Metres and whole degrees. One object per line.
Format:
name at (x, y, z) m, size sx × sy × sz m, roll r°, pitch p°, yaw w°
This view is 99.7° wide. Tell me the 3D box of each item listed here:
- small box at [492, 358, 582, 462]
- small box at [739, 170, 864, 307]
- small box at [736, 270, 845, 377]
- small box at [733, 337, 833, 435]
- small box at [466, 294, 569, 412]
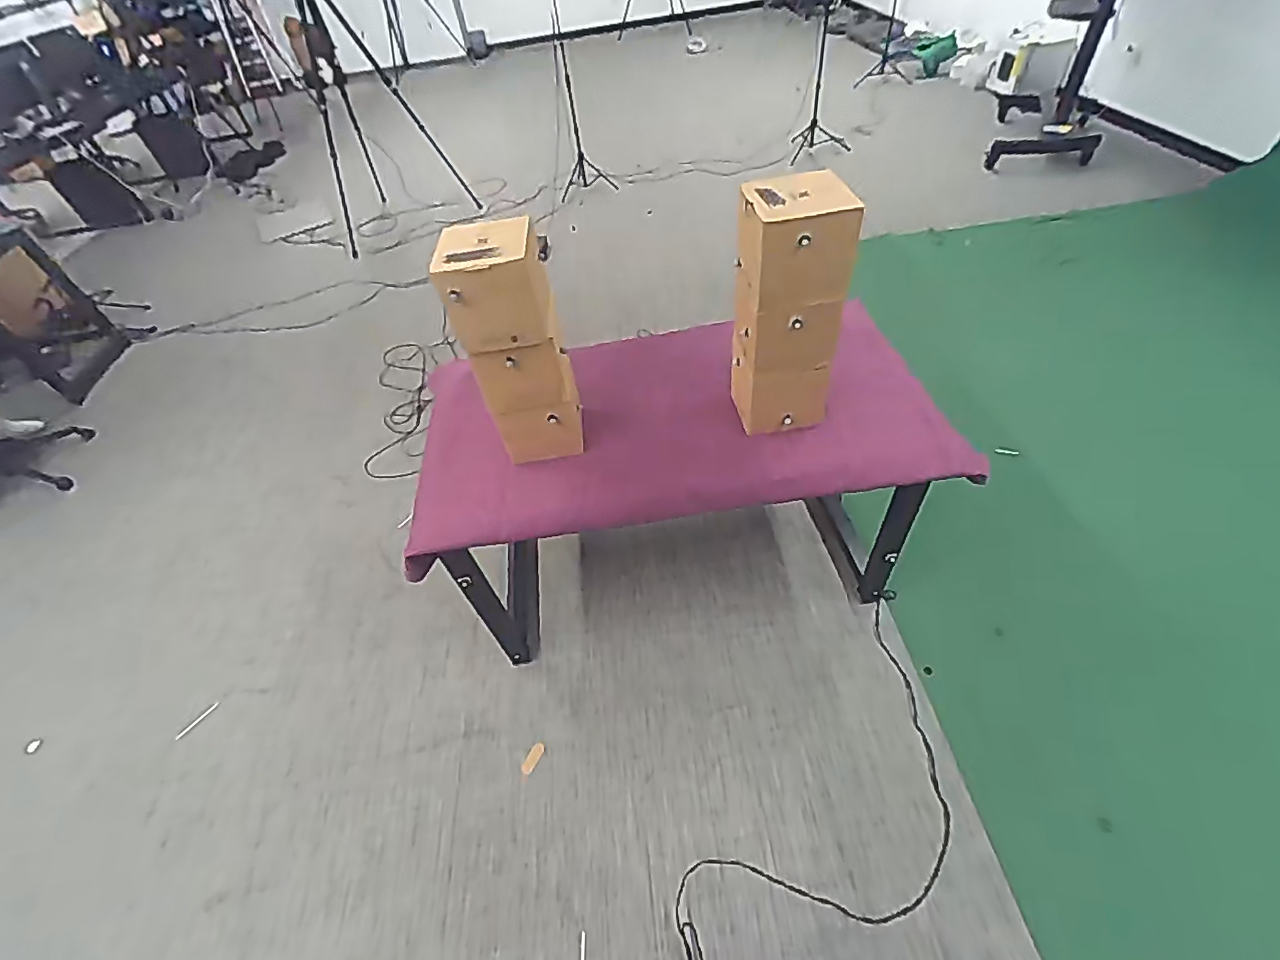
small box at (-0.233, -0.162, 1.268) m, size 0.179 × 0.176 × 0.168 m, roll -8°, pitch 48°, yaw 0°
small box at (0.287, -0.442, 1.002) m, size 0.179 × 0.176 × 0.168 m, roll -10°, pitch 50°, yaw 0°
small box at (0.302, -0.334, 1.125) m, size 0.179 × 0.176 × 0.168 m, roll -9°, pitch 49°, yaw 1°
small box at (0.318, -0.226, 1.247) m, size 0.179 × 0.176 × 0.168 m, roll -10°, pitch 48°, yaw -1°
small box at (-0.249, -0.265, 1.144) m, size 0.179 × 0.176 × 0.168 m, roll -9°, pitch 49°, yaw 1°
